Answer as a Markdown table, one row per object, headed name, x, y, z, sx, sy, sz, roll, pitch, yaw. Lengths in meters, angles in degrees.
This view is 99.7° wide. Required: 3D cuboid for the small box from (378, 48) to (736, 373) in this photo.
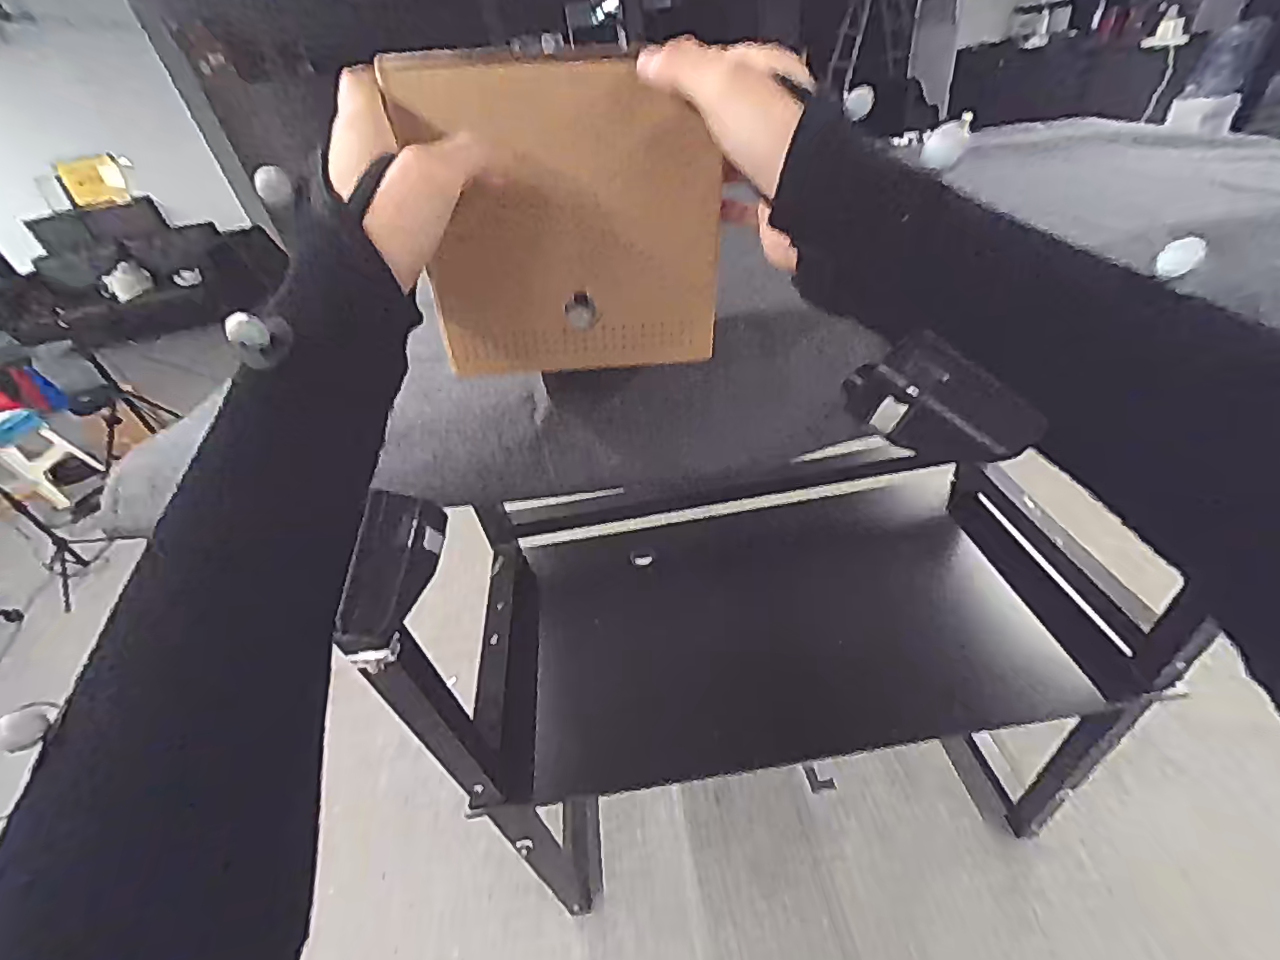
| name | x | y | z | sx | sy | sz | roll | pitch | yaw |
| --- | --- | --- | --- | --- | --- | --- | --- | --- | --- |
| small box | -0.047 | -0.186 | 0.372 | 0.179 | 0.176 | 0.168 | -4 | 39 | -6 |
